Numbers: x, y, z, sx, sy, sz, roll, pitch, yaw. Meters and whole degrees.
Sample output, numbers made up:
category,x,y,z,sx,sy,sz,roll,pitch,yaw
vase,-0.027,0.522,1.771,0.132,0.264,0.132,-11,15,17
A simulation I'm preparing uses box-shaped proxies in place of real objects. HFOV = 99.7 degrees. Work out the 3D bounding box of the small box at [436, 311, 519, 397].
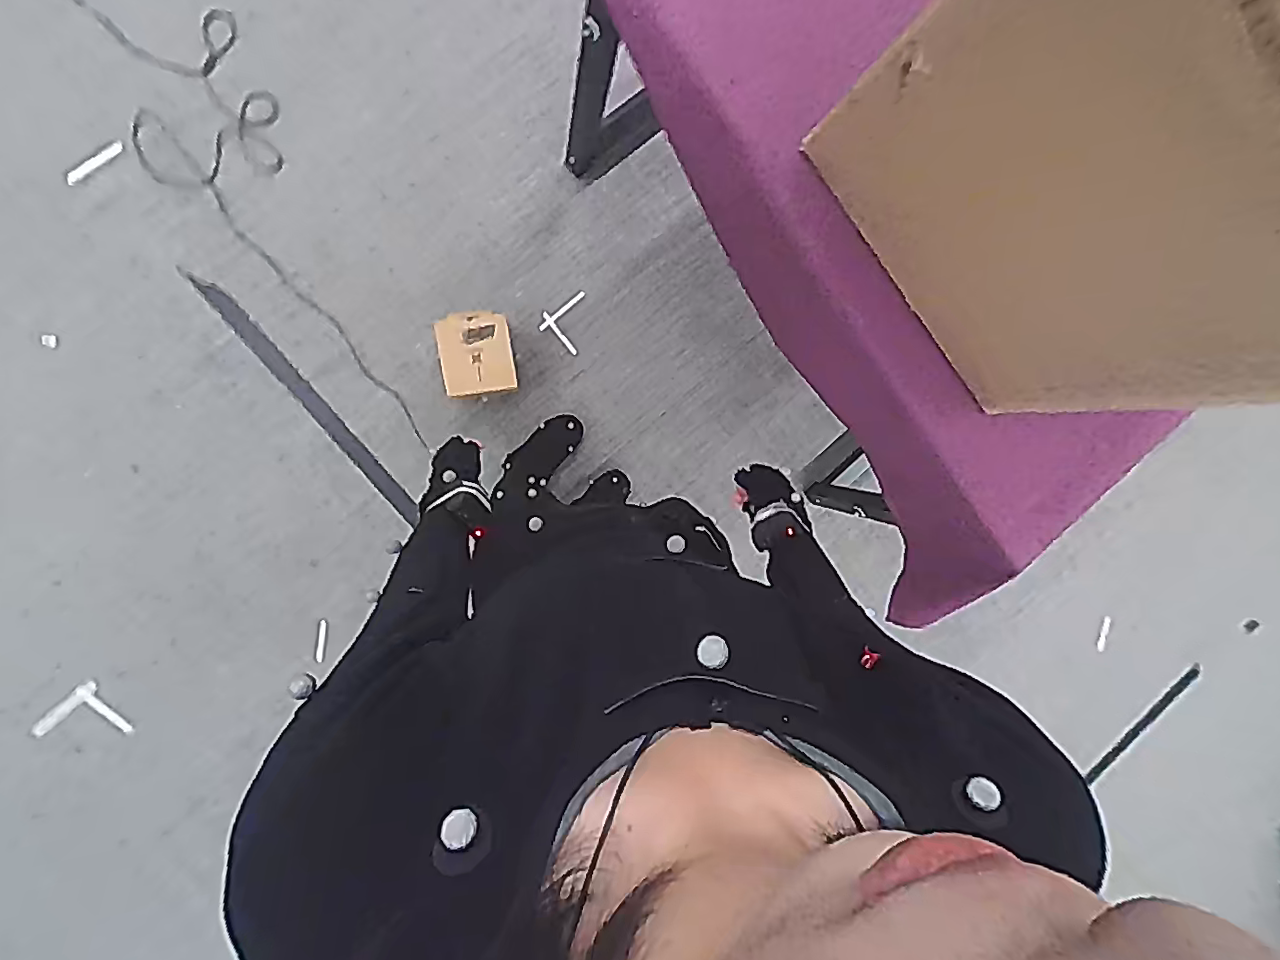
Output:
category,x,y,z,sx,sy,sz,roll,pitch,yaw
small box,-0.393,-0.304,1.332,0.168,0.176,0.179,-9,98,-10
